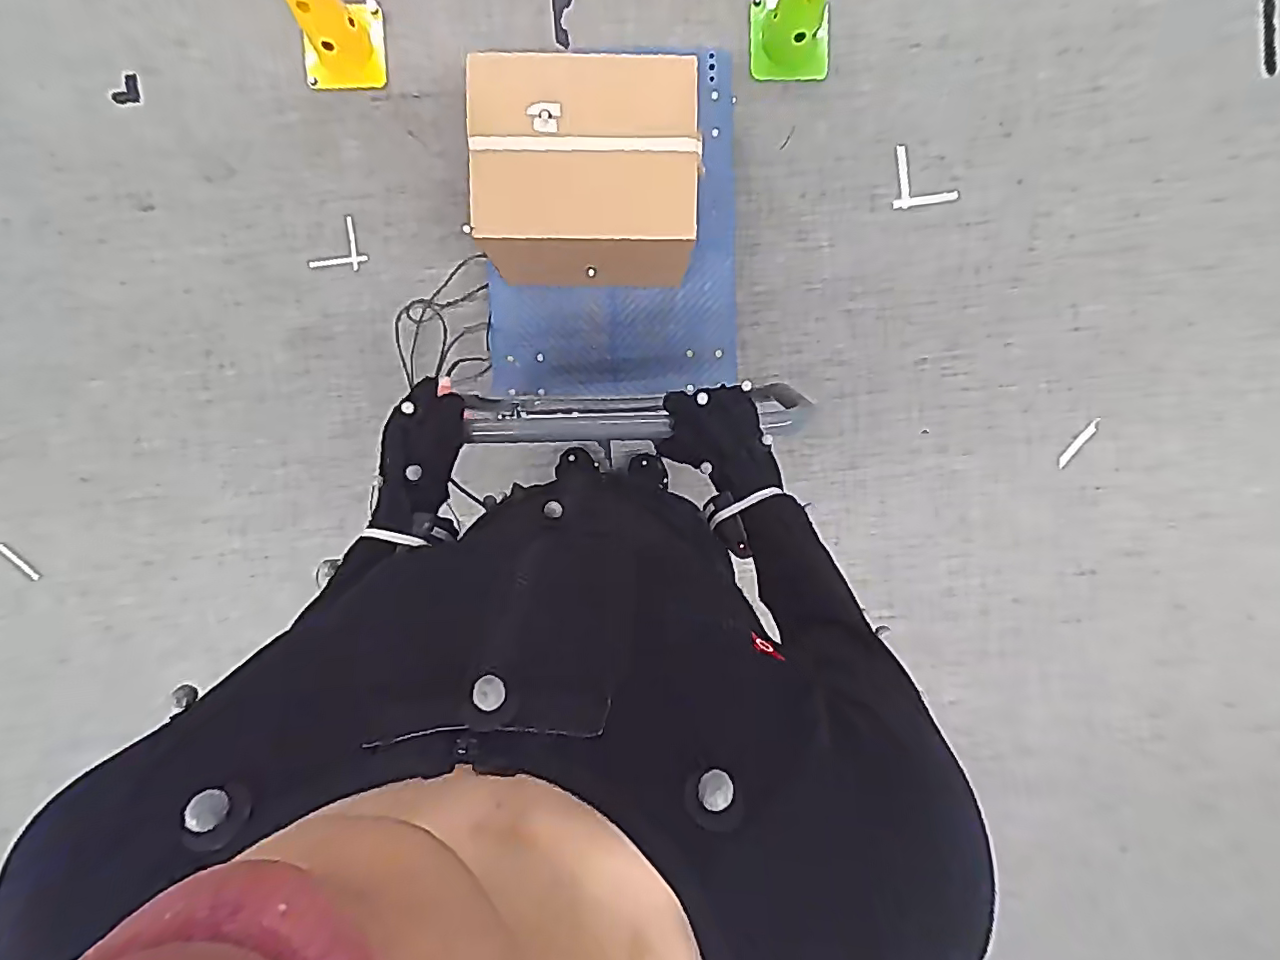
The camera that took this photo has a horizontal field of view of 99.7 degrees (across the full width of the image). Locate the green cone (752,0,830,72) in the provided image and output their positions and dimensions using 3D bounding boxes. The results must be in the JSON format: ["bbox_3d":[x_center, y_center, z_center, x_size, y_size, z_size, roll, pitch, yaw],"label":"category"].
[{"bbox_3d":[0.392,-1.136,1.213,0.202,0.368,0.200,-2,95,-2],"label":"green cone"}]

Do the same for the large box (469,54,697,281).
[{"bbox_3d":[-0.097,-0.602,1.104,0.408,0.320,0.320,0,95,0],"label":"large box"}]
